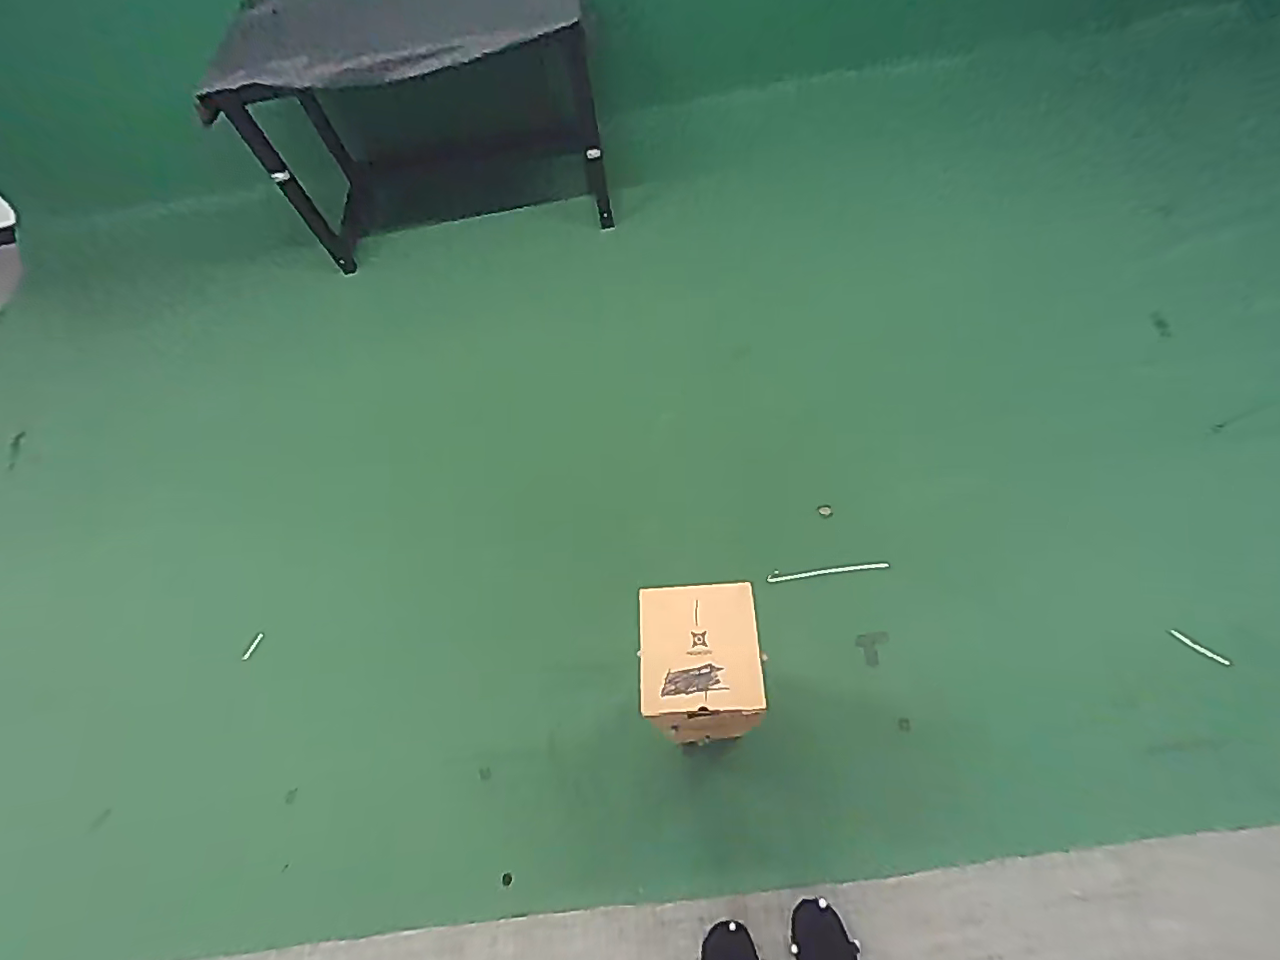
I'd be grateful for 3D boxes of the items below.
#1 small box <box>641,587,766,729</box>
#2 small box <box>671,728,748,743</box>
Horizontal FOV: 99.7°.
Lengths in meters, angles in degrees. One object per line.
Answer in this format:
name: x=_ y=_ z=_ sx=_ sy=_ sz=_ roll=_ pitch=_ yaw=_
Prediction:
small box: x=0.095 y=0.272 z=0.808 sx=0.168 sy=0.176 sz=0.179 roll=-4 pitch=59 yaw=7
small box: x=0.152 y=0.501 z=1.241 sx=0.168 sy=0.176 sz=0.179 roll=-8 pitch=59 yaw=4
